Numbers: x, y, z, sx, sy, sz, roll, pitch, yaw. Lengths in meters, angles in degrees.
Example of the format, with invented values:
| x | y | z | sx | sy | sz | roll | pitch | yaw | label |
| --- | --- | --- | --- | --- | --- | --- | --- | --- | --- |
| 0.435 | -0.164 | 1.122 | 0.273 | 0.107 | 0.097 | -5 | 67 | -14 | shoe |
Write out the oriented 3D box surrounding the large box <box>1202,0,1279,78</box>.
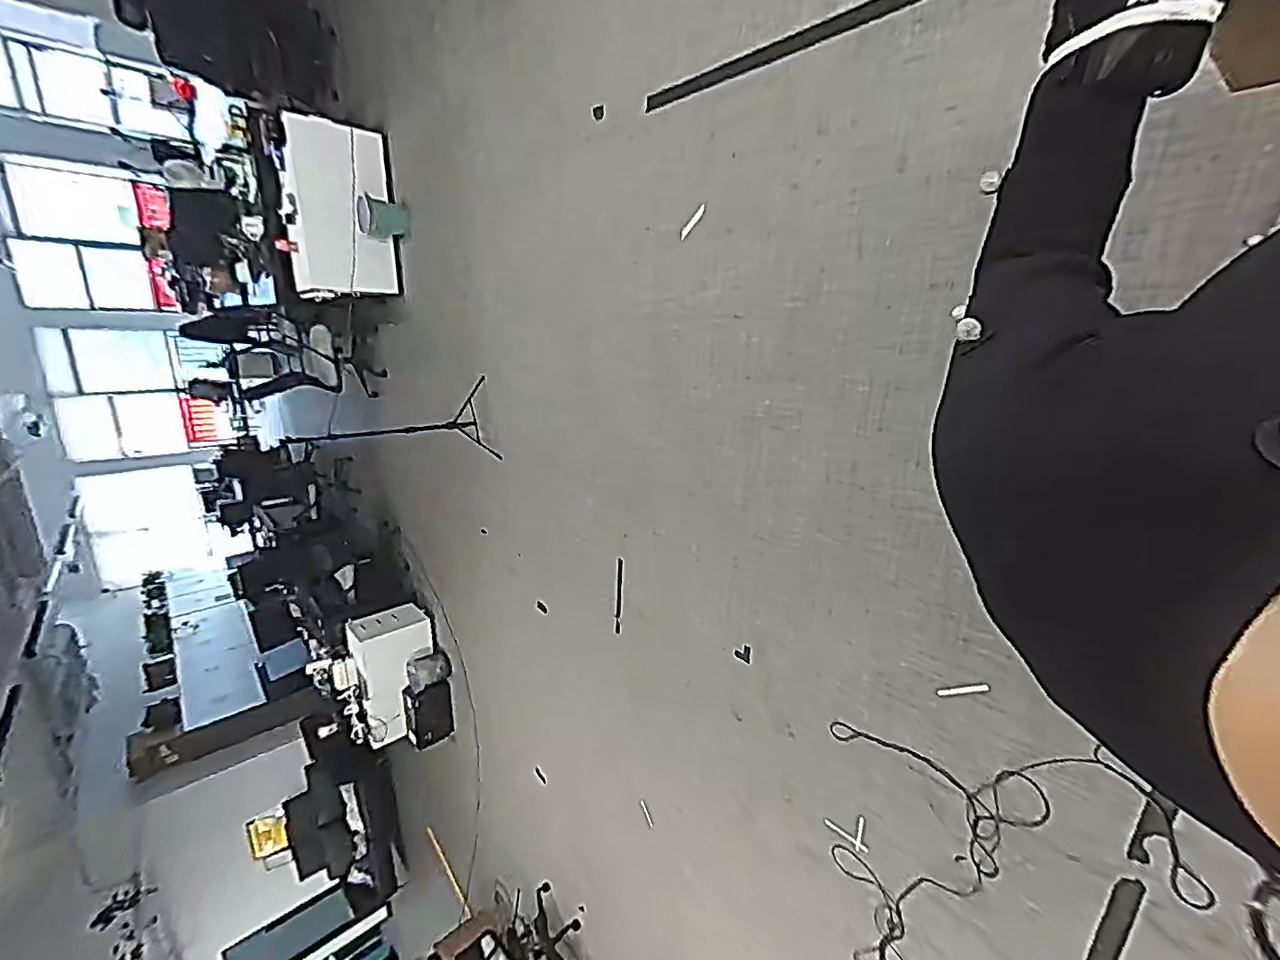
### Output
| x | y | z | sx | sy | sz | roll | pitch | yaw | label |
| --- | --- | --- | --- | --- | --- | --- | --- | --- | --- |
| 0.581 | -0.466 | 0.250 | 0.408 | 0.320 | 0.320 | 16 | 116 | 48 | large box |
